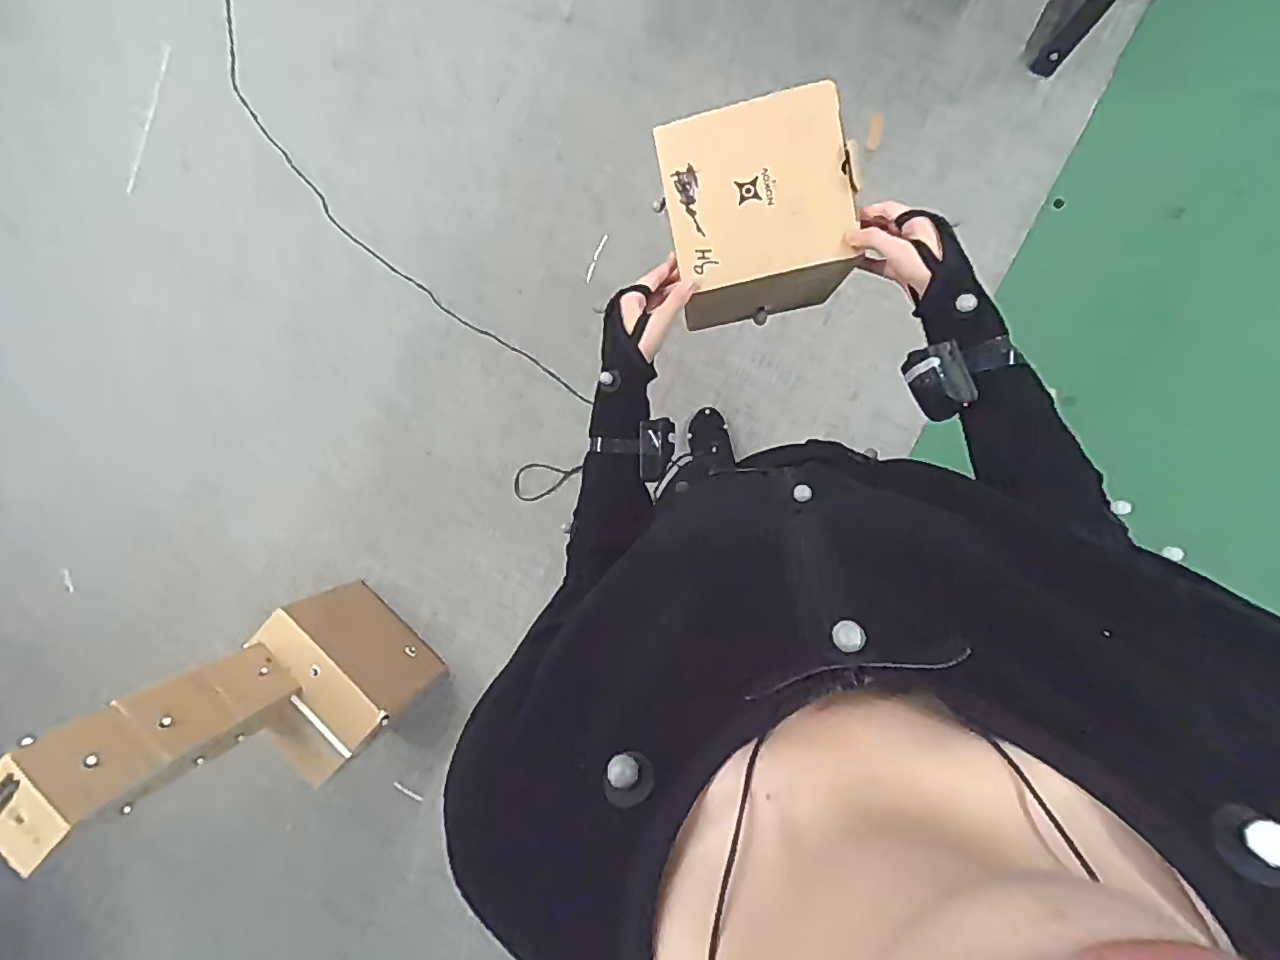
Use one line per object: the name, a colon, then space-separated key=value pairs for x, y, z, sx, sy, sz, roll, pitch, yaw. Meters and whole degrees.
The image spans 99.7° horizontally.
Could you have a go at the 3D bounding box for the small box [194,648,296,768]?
small box: x=-0.999 y=0.551 z=1.327 sx=0.168 sy=0.176 sz=0.179 roll=44 pitch=100 yaw=4

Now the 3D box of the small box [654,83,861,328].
small box: x=0.117 y=-0.278 z=0.590 sx=0.179 sy=0.176 sz=0.168 roll=-10 pitch=91 yaw=6

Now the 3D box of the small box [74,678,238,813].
small box: x=-1.034 y=0.556 z=1.169 sx=0.168 sy=0.176 sz=0.179 roll=-45 pitch=86 yaw=10
